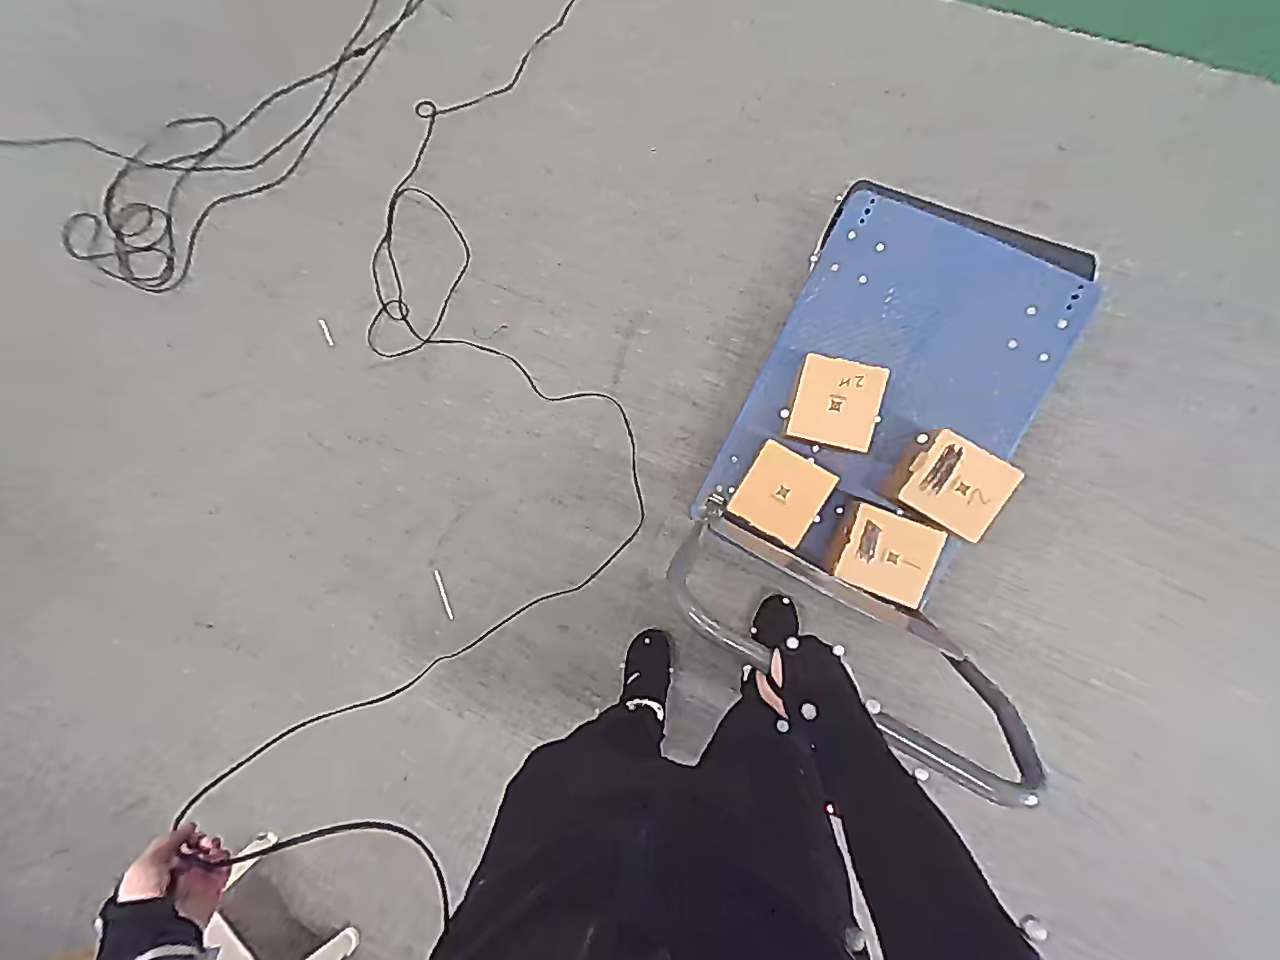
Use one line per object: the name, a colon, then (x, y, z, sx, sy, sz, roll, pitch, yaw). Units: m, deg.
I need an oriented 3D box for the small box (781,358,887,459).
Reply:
small box: (0.410, -0.147, 1.176, 0.168, 0.176, 0.179, 15, 93, 8)
